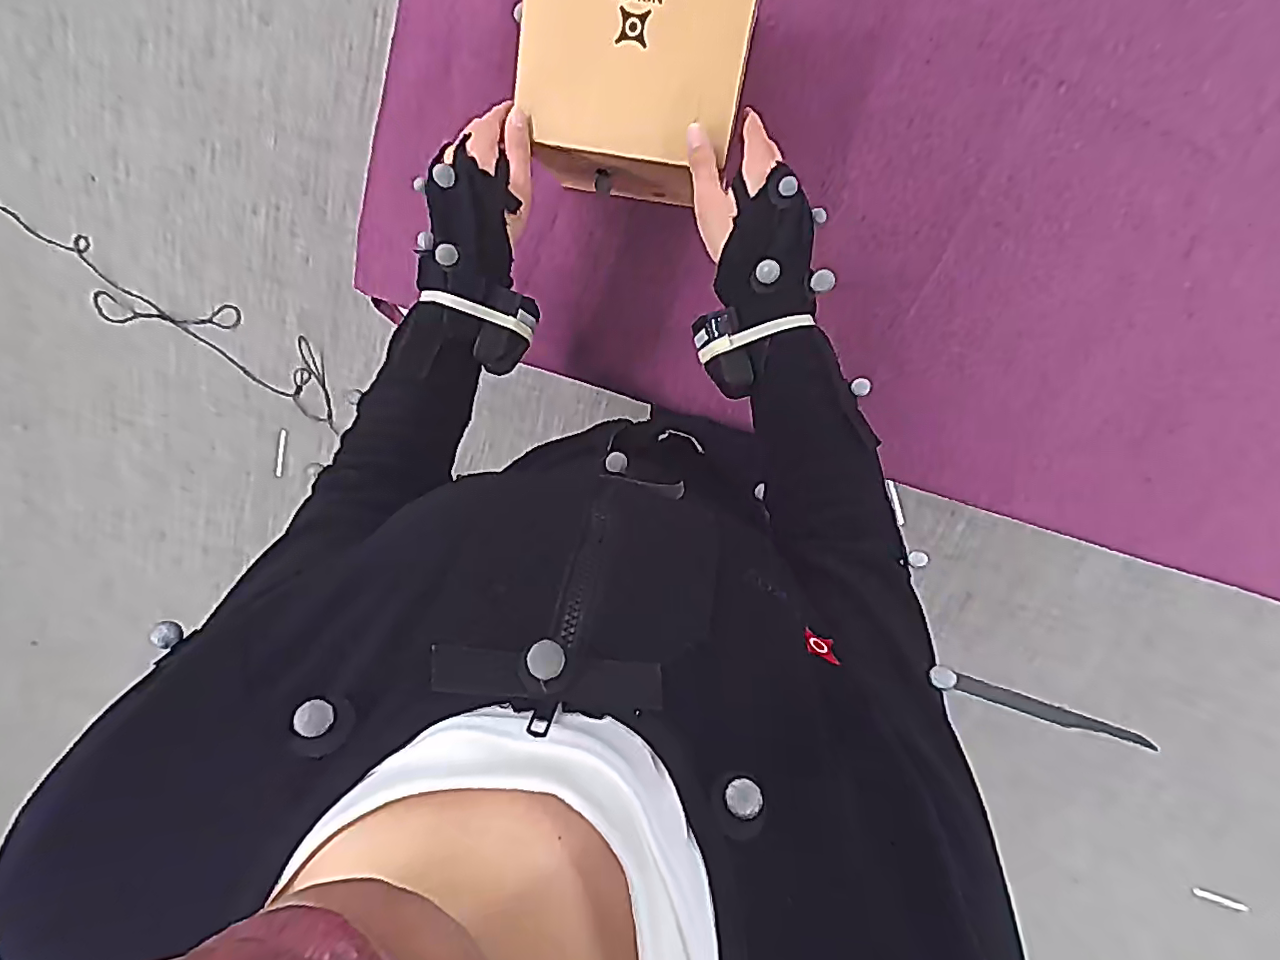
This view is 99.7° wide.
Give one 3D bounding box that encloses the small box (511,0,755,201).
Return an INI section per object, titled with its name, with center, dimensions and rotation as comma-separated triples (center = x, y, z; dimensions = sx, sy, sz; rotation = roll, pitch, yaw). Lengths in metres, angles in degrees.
[small box]
center = 0.003, -0.353, 0.457
dimensions = 0.168, 0.176, 0.179
rotation = 10, 106, 3
